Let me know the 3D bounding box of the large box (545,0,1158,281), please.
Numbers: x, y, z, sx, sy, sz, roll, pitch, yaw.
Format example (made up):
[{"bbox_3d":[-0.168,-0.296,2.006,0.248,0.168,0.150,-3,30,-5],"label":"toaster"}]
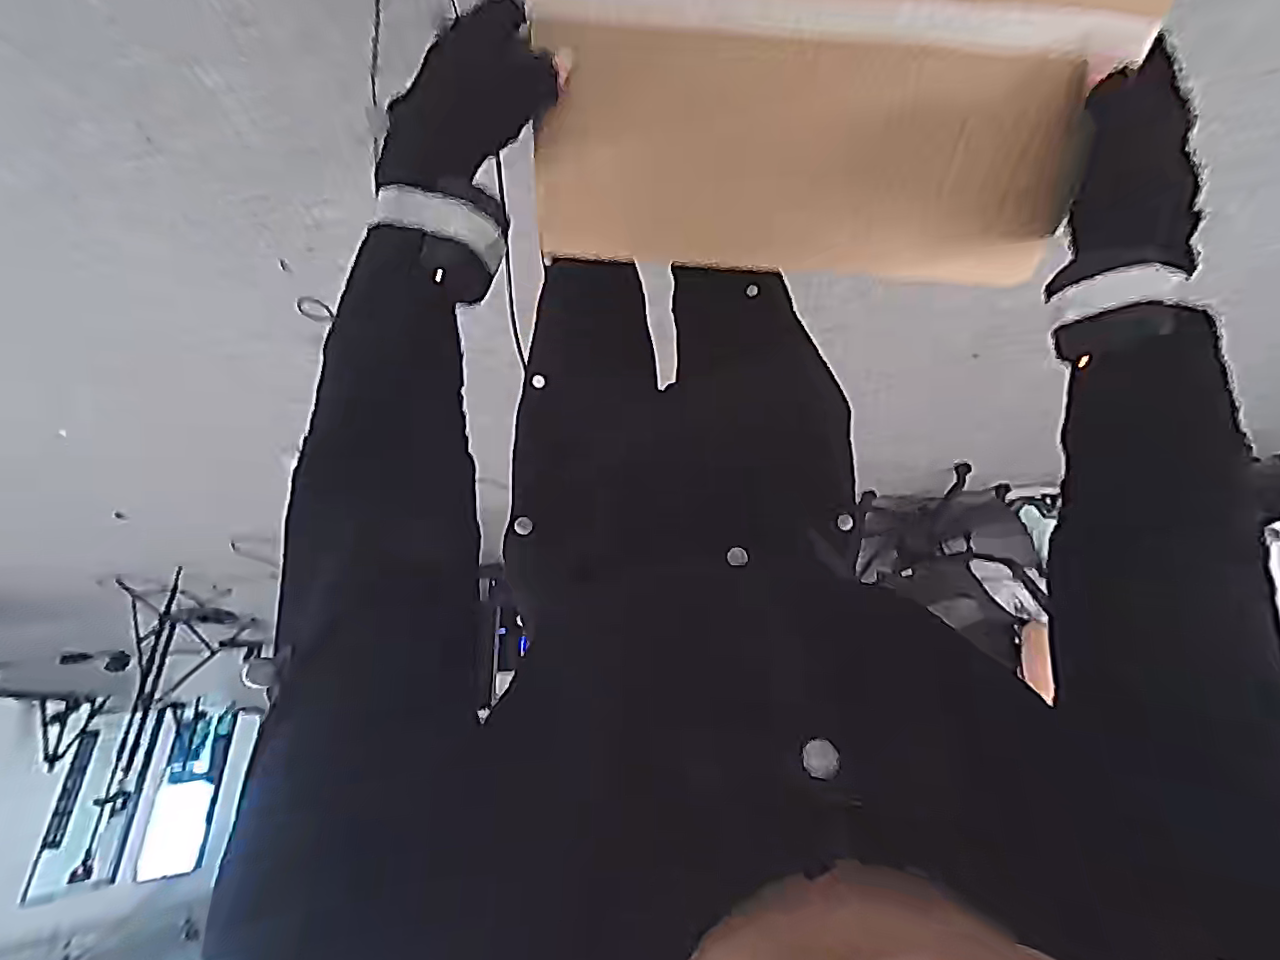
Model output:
[{"bbox_3d":[0.132,-0.388,0.479,0.408,0.320,0.320,3,129,-3],"label":"large box"}]
